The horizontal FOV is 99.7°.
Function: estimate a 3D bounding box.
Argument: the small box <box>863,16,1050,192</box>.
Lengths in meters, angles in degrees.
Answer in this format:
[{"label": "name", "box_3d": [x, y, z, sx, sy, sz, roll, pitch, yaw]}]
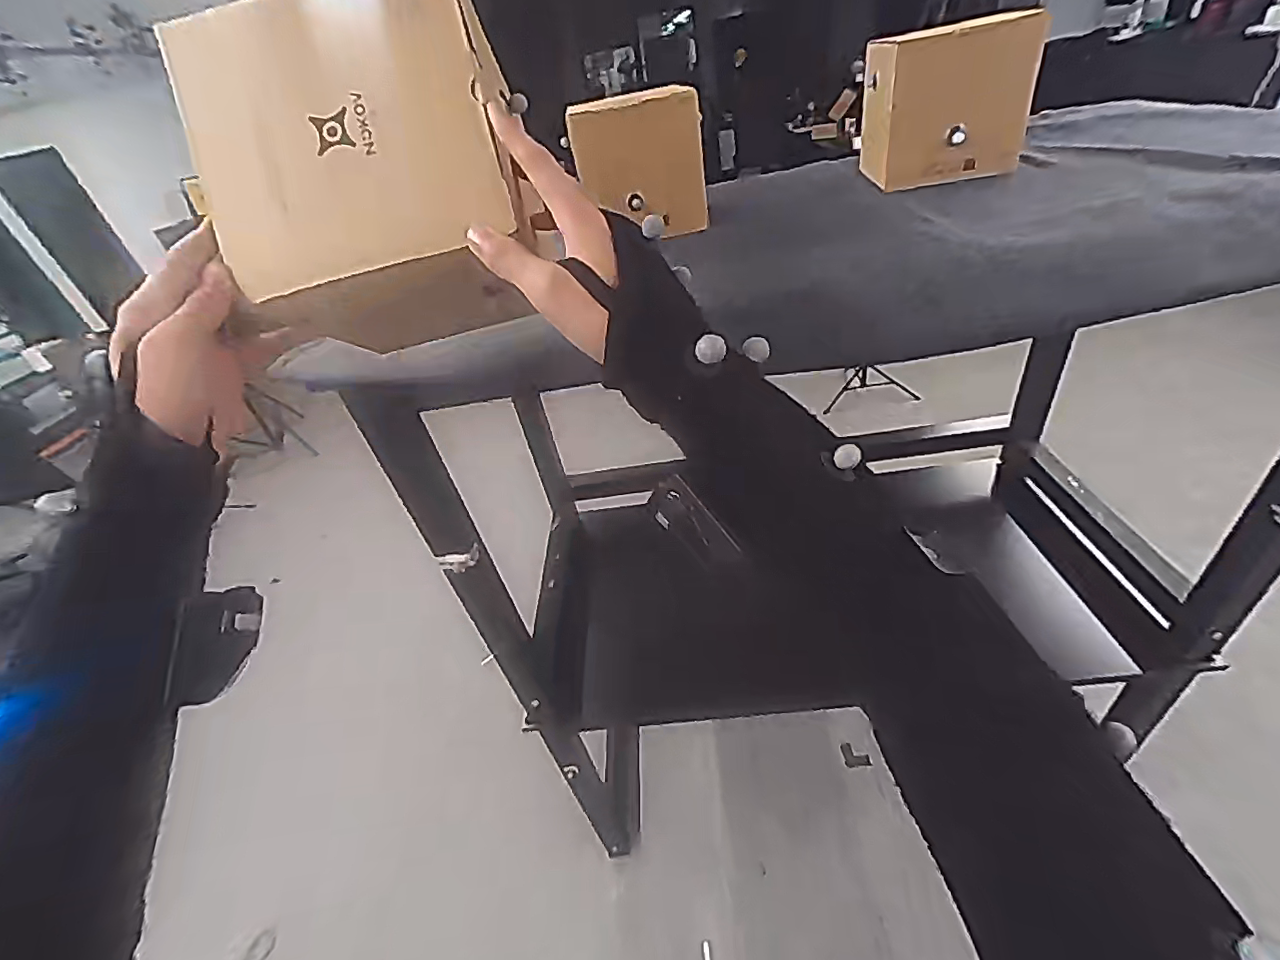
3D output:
[{"label": "small box", "box_3d": [0.414, -0.513, 0.748, 0.168, 0.176, 0.179, -4, 38, 11]}]

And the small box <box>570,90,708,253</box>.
[{"label": "small box", "box_3d": [-0.002, -0.442, 0.777, 0.168, 0.176, 0.179, -12, 38, 1]}]

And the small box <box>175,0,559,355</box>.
[{"label": "small box", "box_3d": [-0.164, -0.201, 0.391, 0.179, 0.168, 0.176, -14, 2, 2]}]
